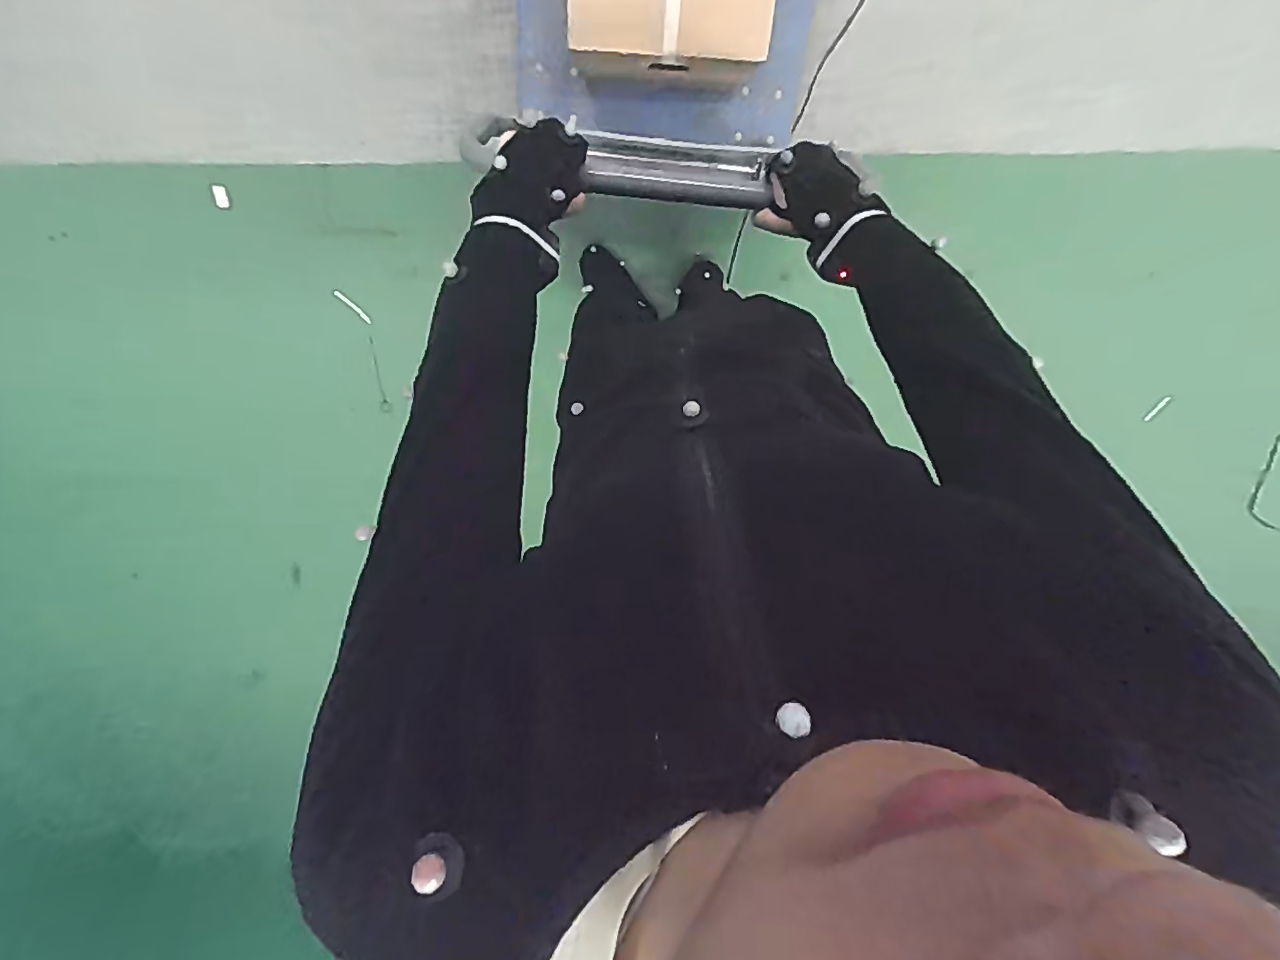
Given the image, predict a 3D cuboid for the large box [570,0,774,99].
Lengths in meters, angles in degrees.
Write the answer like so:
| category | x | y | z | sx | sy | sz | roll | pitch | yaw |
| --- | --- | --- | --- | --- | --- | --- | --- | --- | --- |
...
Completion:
| category | x | y | z | sx | sy | sz | roll | pitch | yaw |
| --- | --- | --- | --- | --- | --- | --- | --- | --- | --- |
| large box | 0.054 | -0.897 | 0.896 | 0.320 | 0.320 | 0.408 | 2 | 118 | -2 |
